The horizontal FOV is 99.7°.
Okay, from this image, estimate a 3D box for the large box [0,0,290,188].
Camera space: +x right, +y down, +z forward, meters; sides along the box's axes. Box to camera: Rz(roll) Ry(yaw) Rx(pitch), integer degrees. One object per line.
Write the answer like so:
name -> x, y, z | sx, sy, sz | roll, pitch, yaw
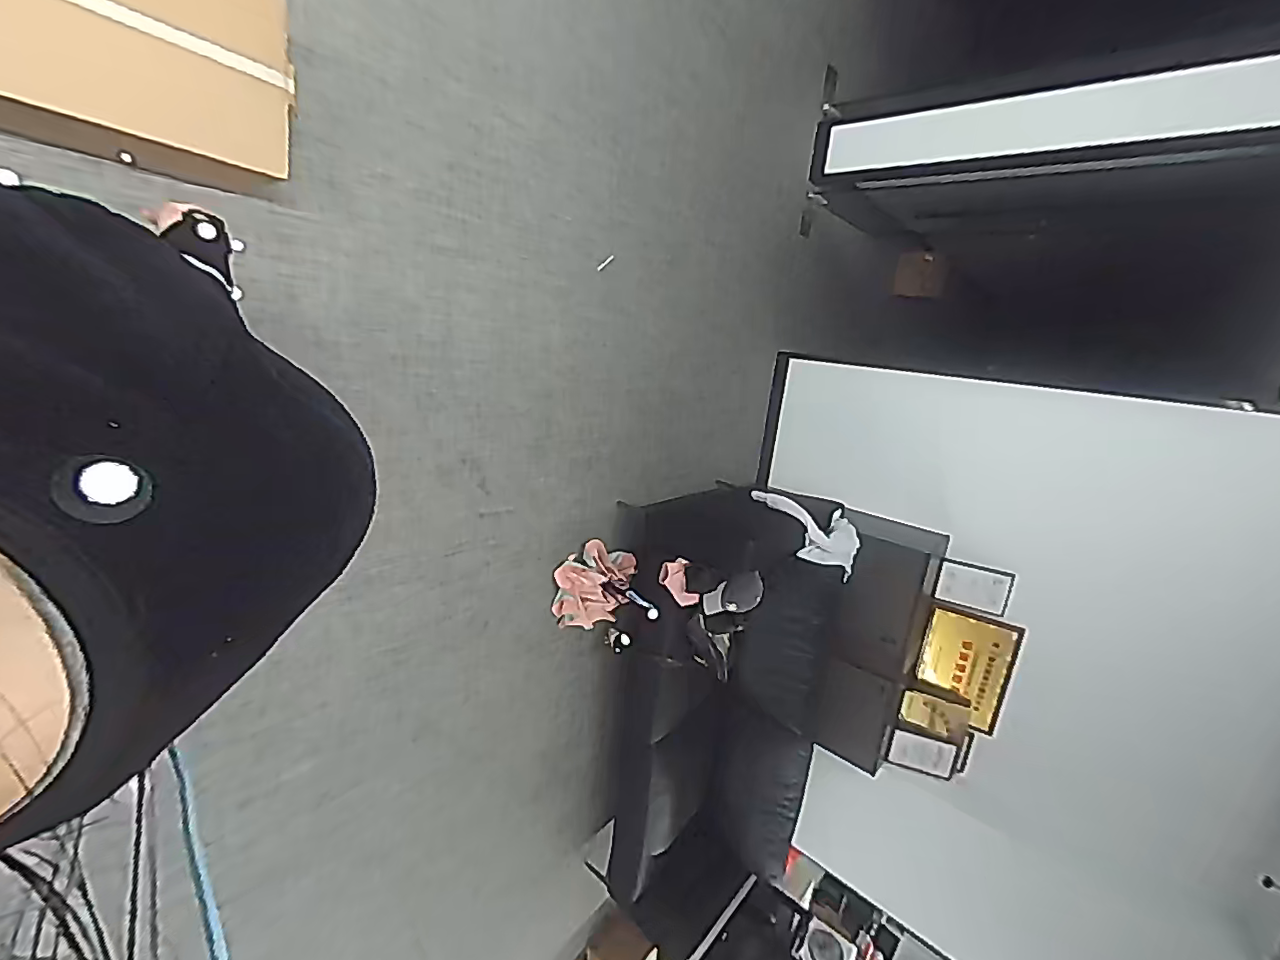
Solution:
large box -> -0.871, -0.724, 0.913 | 0.408, 0.320, 0.320 | -7, 109, -48
